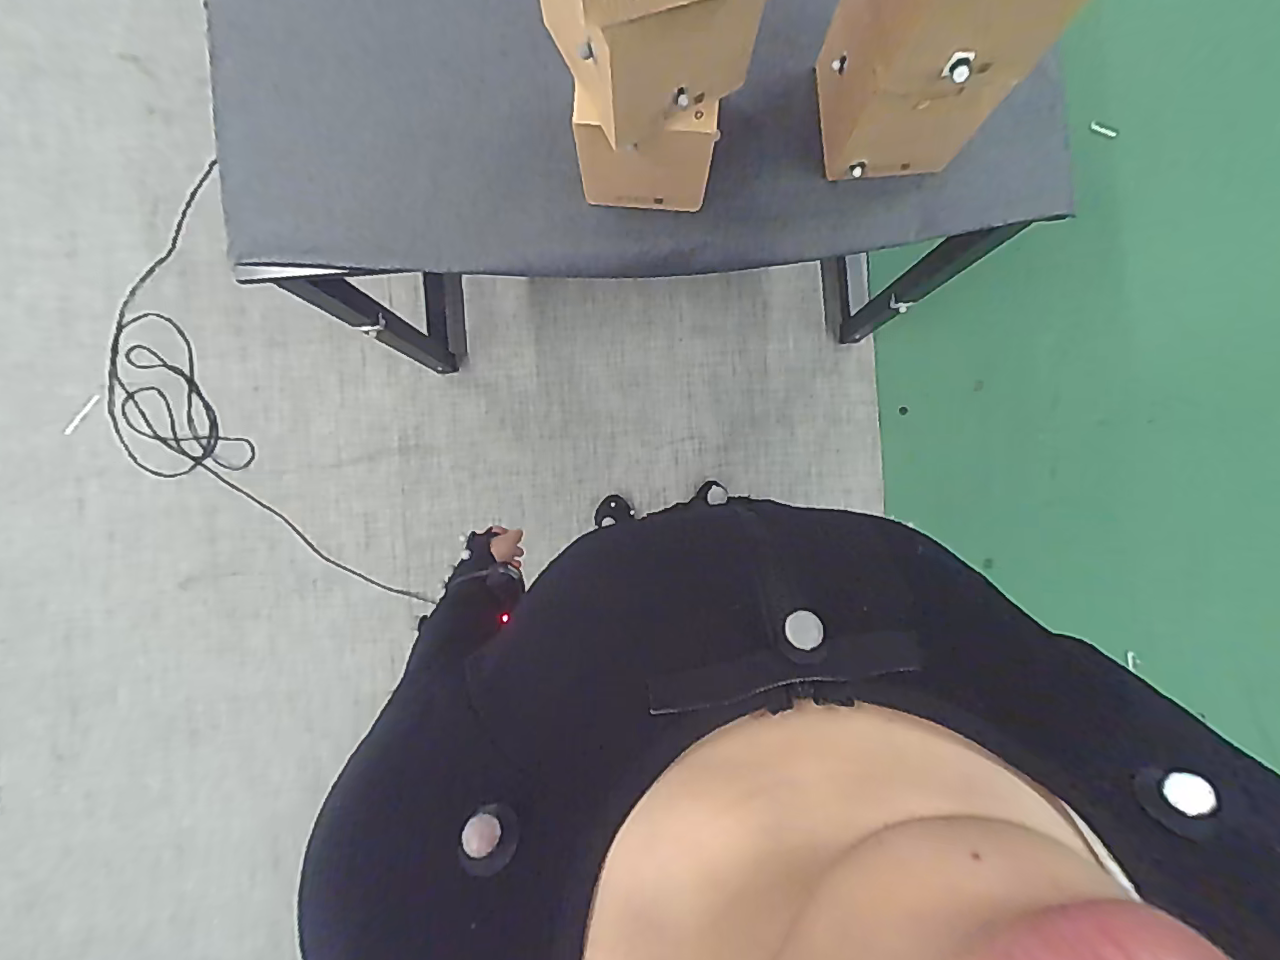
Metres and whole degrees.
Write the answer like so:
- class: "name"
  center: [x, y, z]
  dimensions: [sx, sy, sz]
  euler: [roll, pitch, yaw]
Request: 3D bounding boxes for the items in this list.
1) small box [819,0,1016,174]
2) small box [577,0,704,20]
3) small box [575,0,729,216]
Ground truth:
- class: "small box"
  center: [0.339, -0.517, 0.690]
  dimensions: [0.168, 0.176, 0.179]
  euler: [-4, 86, 1]
- class: "small box"
  center: [0.011, -0.465, 0.364]
  dimensions: [0.168, 0.176, 0.179]
  euler: [-16, 88, 0]
- class: "small box"
  center: [0.013, -0.473, 0.693]
  dimensions: [0.168, 0.176, 0.179]
  euler: [4, 87, 1]
